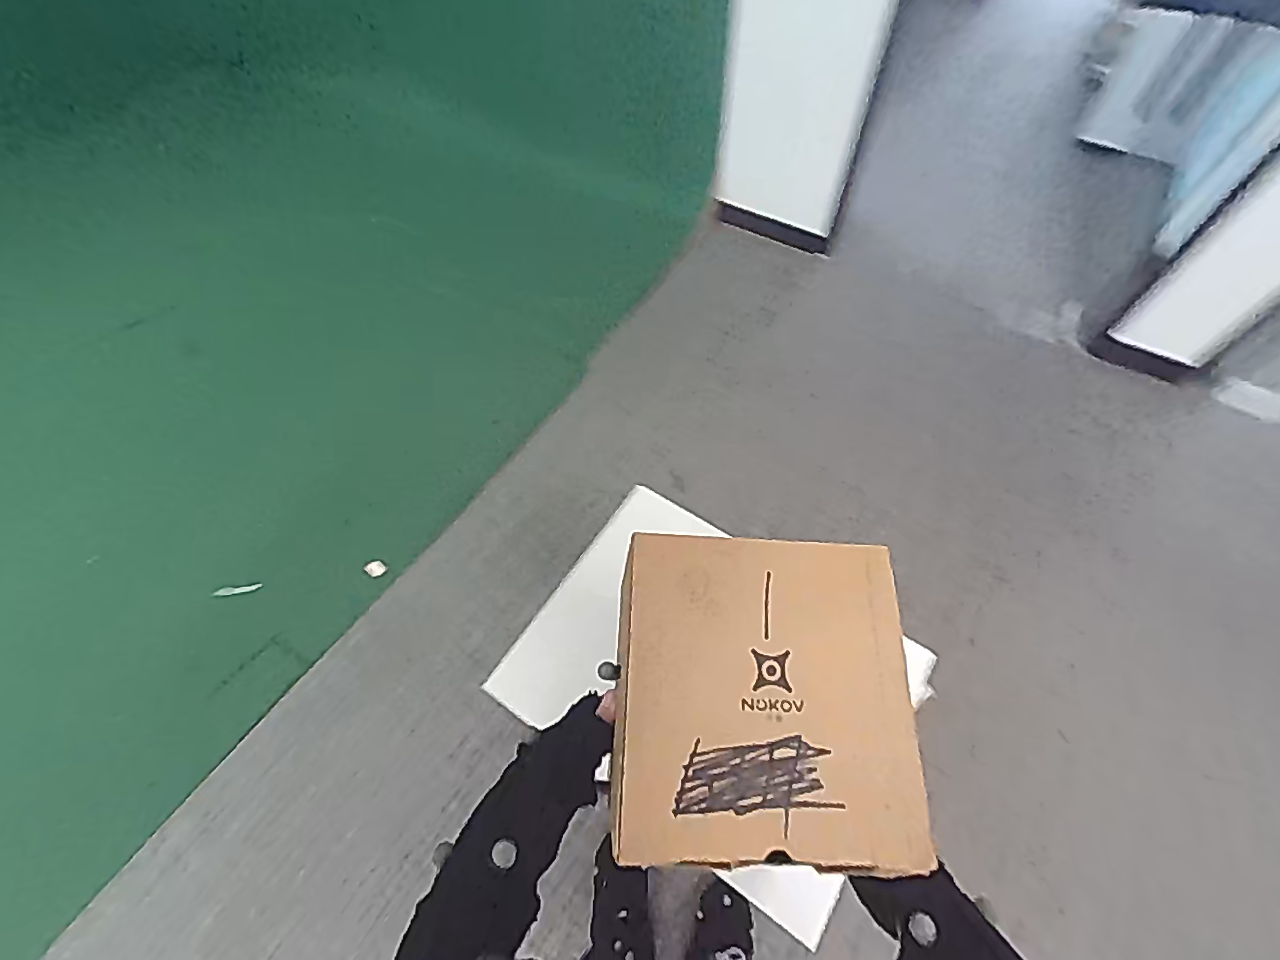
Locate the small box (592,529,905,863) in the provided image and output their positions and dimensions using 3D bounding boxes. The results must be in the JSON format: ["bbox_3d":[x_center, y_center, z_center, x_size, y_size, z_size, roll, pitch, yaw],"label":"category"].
[{"bbox_3d":[0.055,0.143,0.382,0.168,0.176,0.179,2,68,-4],"label":"small box"}]
